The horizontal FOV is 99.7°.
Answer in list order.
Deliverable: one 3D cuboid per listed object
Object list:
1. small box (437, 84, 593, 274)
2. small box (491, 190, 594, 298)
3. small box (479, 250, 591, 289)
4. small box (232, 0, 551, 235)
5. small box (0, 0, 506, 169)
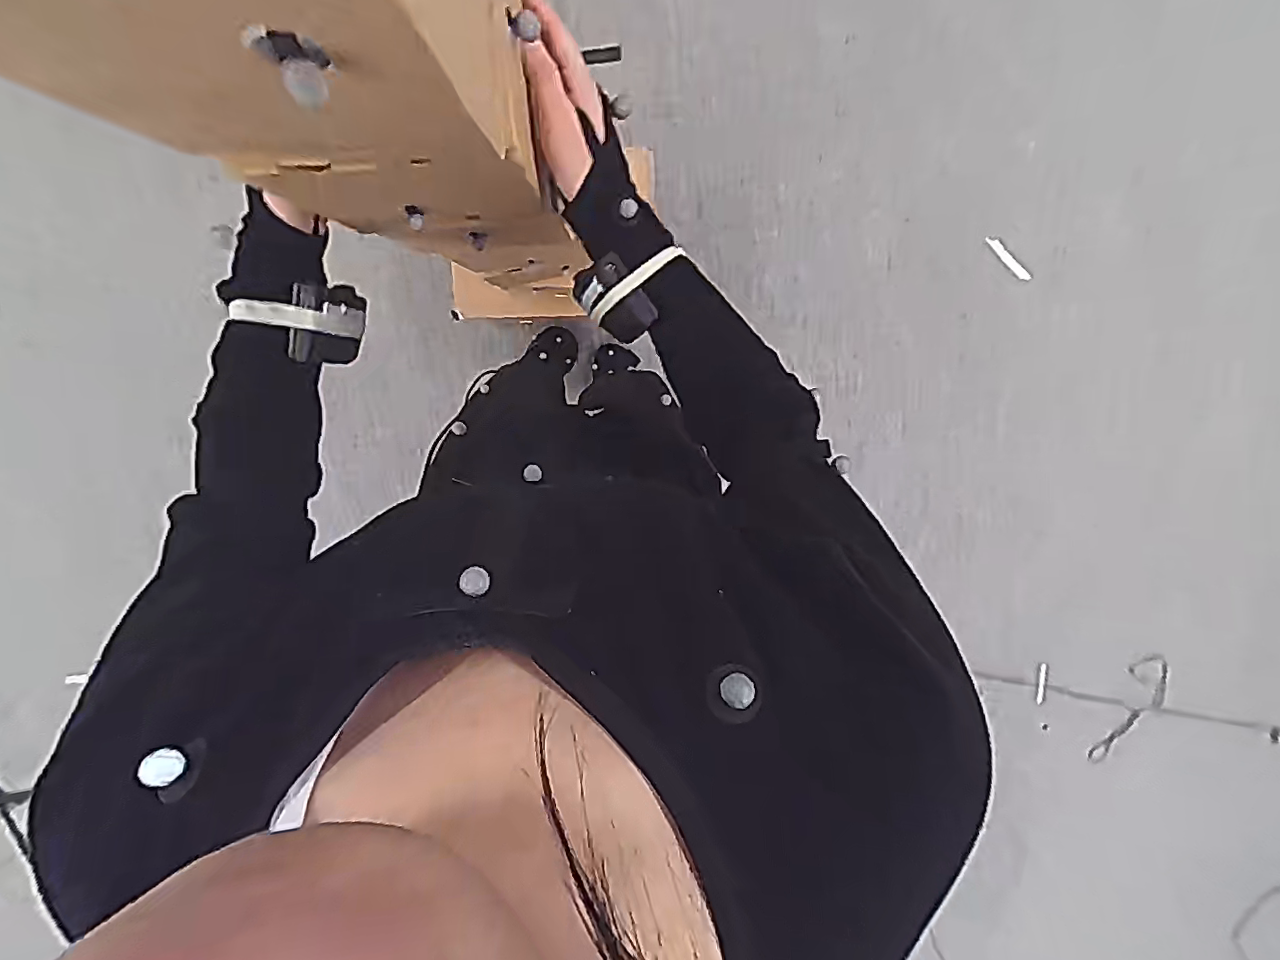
[{"bbox_3d":[-0.158,-0.362,0.680,0.179,0.176,0.168,-8,105,-2],"label":"small box"},{"bbox_3d":[-0.177,-0.430,0.998,0.179,0.176,0.168,1,105,-4],"label":"small box"},{"bbox_3d":[-0.174,-0.404,0.837,0.168,0.176,0.179,-14,104,0],"label":"small box"},{"bbox_3d":[-0.157,-0.278,0.363,0.168,0.176,0.179,-6,105,-2],"label":"small box"},{"bbox_3d":[-0.151,-0.234,0.205,0.179,0.176,0.168,-1,105,-3],"label":"small box"}]
